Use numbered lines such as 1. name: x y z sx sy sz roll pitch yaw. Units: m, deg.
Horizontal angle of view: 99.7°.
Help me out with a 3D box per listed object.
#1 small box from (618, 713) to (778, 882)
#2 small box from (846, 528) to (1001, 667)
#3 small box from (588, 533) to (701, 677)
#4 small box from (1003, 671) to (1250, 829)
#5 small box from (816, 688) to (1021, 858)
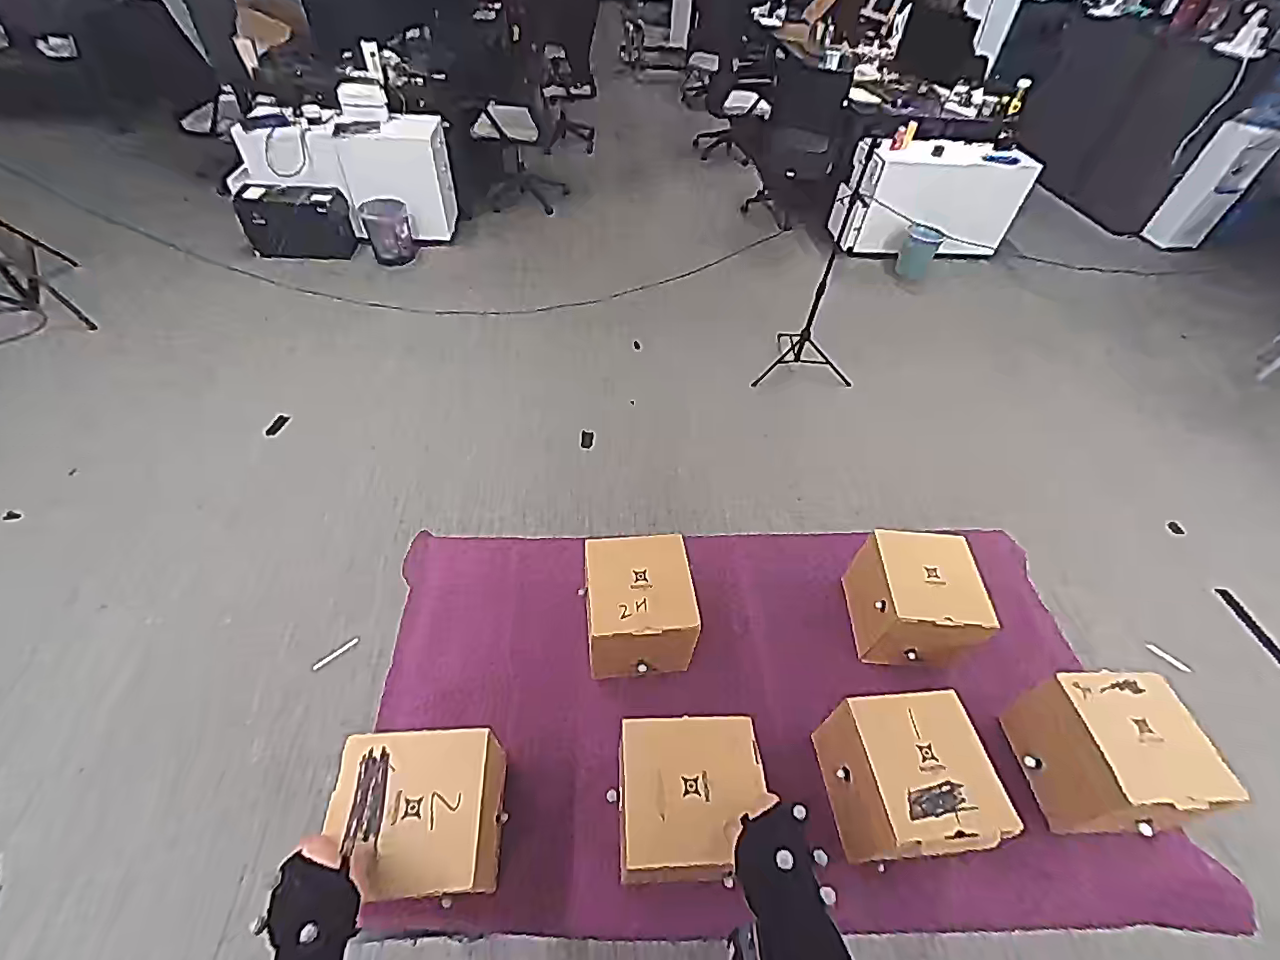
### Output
1. small box: 0.063 0.425 0.724 0.179 0.176 0.168 1 47 -5
2. small box: 0.484 0.209 0.957 0.168 0.176 0.179 4 49 0
3. small box: -0.002 0.211 0.914 0.168 0.176 0.179 -3 49 -7
4. small box: 0.690 0.400 0.796 0.168 0.176 0.179 1 46 -3
5. small box: 0.370 0.414 0.759 0.168 0.176 0.179 -1 47 -6
